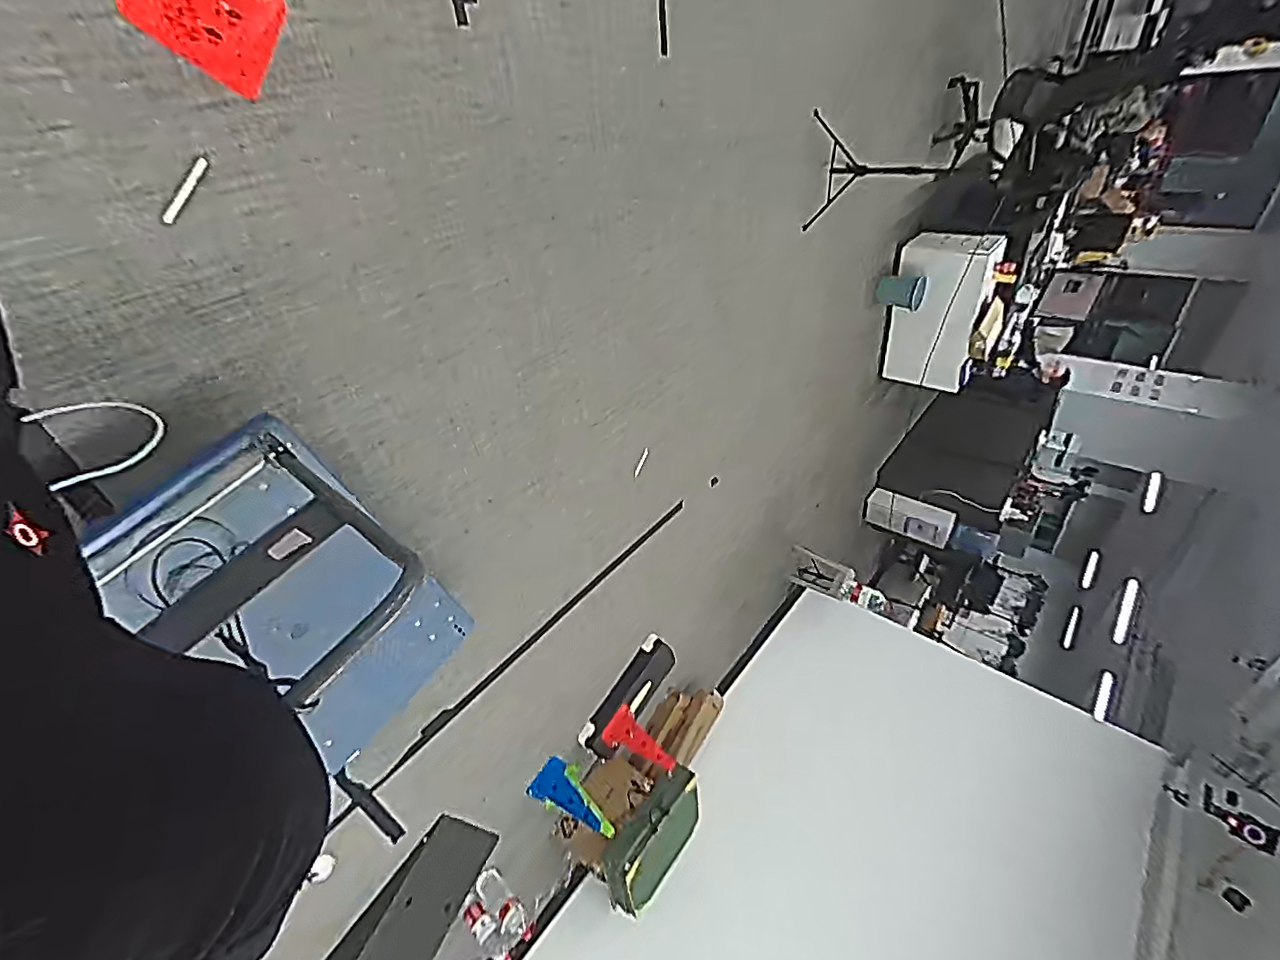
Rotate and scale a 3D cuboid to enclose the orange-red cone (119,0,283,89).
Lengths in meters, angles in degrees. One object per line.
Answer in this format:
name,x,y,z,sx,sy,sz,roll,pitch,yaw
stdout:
orange-red cone,-0.622,-0.767,0.831,0.198,0.360,0.199,20,94,-54
